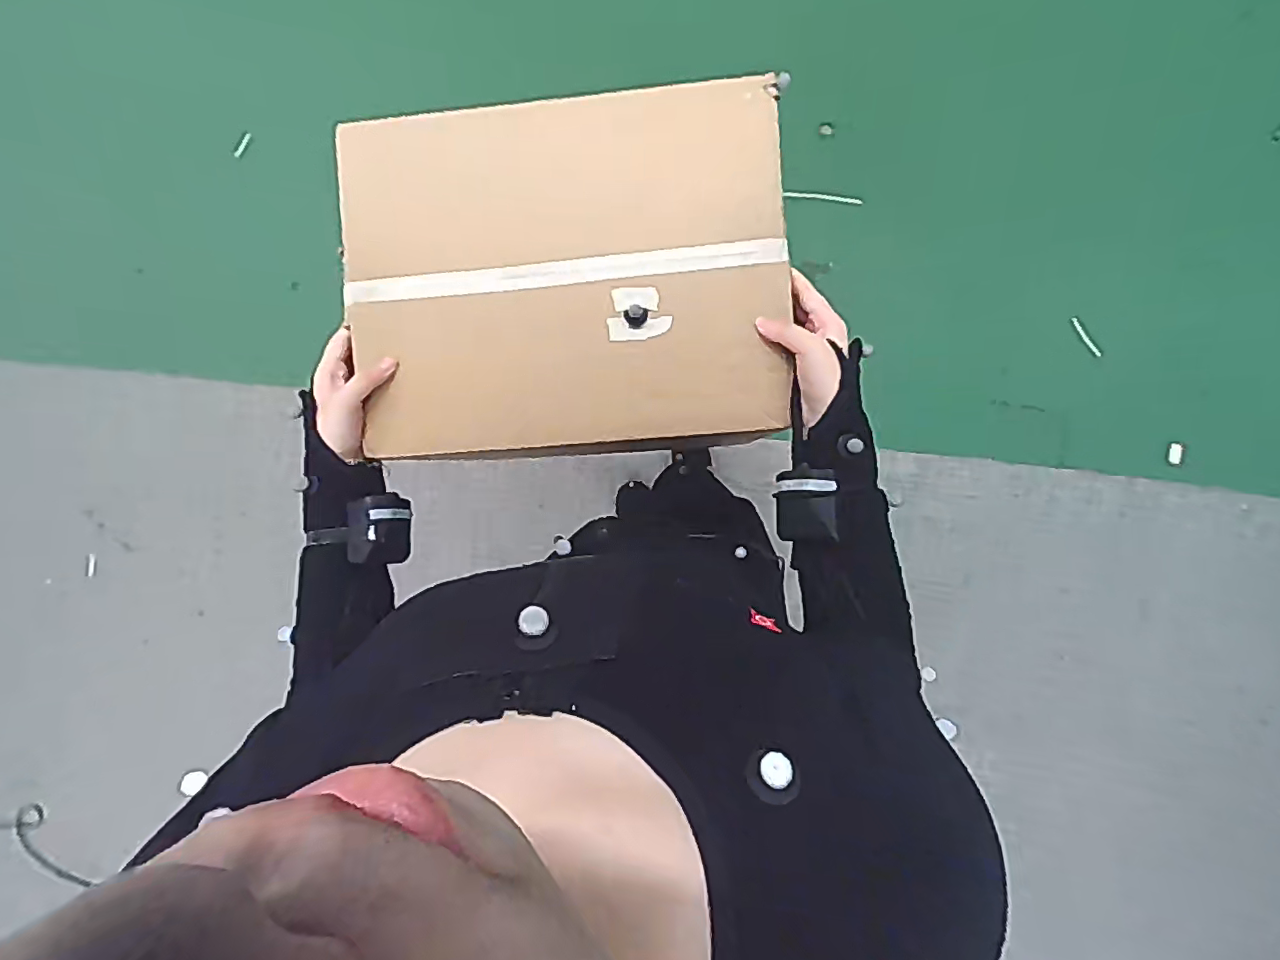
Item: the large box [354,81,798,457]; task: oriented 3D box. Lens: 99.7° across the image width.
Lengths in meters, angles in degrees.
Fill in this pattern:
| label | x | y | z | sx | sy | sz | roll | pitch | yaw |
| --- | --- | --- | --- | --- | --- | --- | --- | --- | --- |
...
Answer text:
| label | x | y | z | sx | sy | sz | roll | pitch | yaw |
| --- | --- | --- | --- | --- | --- | --- | --- | --- | --- |
| large box | -0.057 | -0.198 | 0.650 | 0.408 | 0.320 | 0.320 | -3 | 92 | 3 |
